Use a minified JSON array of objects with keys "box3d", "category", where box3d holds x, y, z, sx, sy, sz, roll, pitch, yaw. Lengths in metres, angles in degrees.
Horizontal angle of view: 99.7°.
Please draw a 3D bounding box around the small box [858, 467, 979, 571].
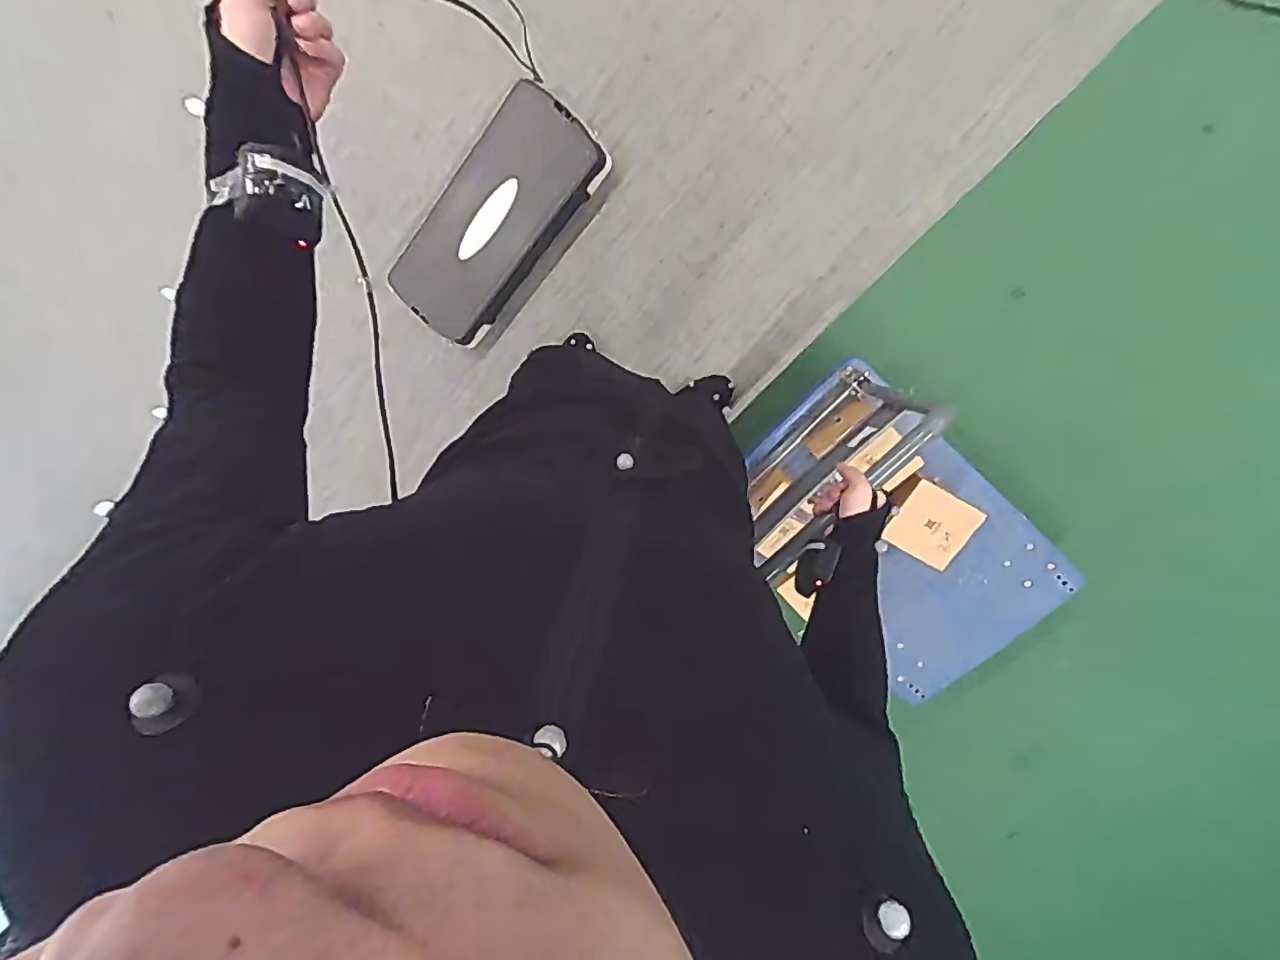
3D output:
[{"box3d":[0.664,0.084,1.318,0.179,0.176,0.168,30,108,-3],"category":"small box"}]
